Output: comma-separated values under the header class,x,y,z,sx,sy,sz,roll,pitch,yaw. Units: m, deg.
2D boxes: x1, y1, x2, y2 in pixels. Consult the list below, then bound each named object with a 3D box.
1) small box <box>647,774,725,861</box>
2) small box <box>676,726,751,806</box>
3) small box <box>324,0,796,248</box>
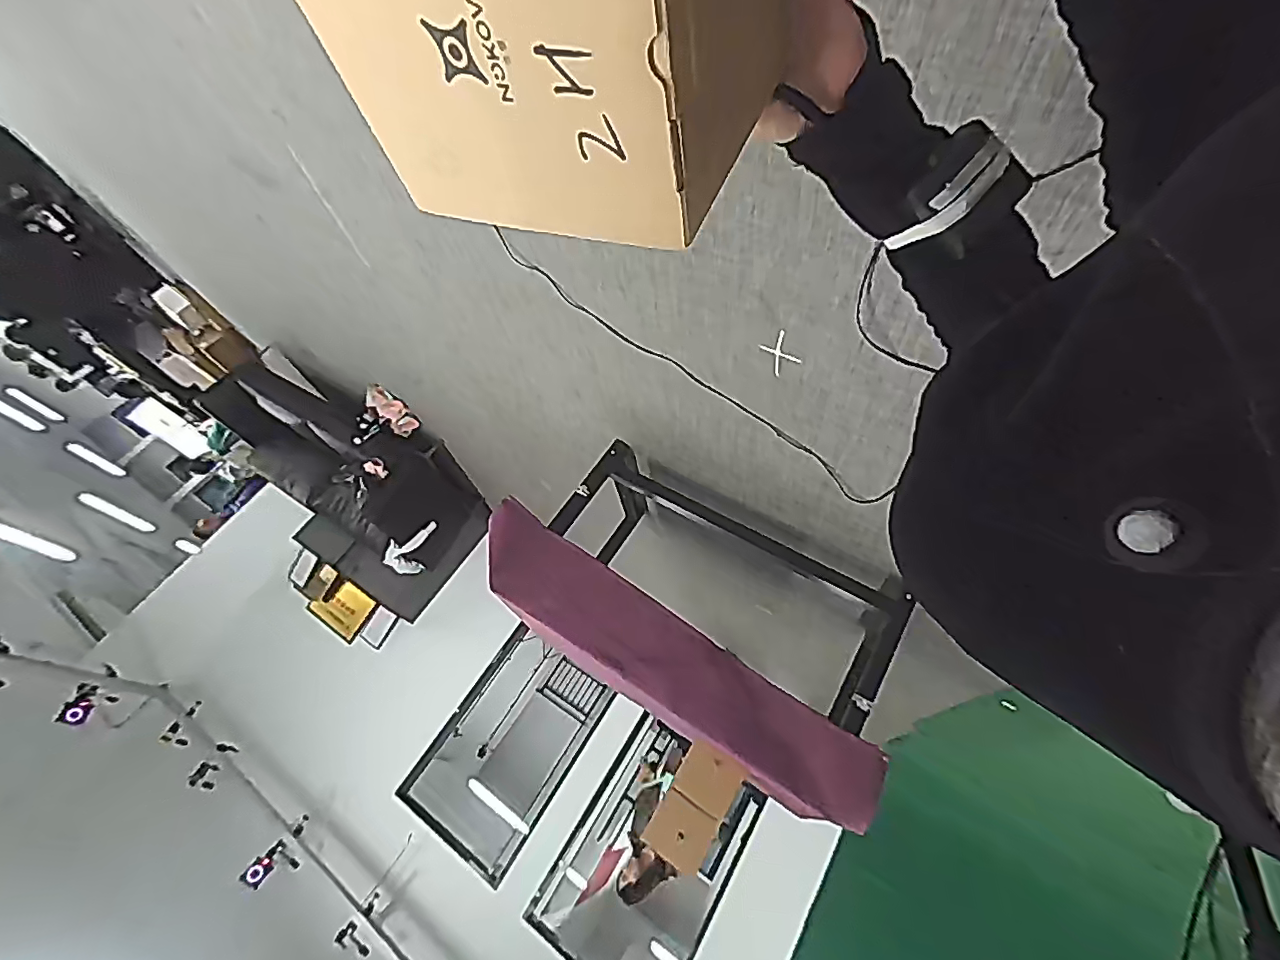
class,x,y,z,sx,sy,sz,roll,pitch,yaw
small box,0.146,1.033,1.670,0.179,0.176,0.168,25,156,23
small box,0.237,0.908,1.729,0.179,0.176,0.168,26,157,24
small box,-0.029,-0.249,0.264,0.179,0.176,0.168,17,158,19
